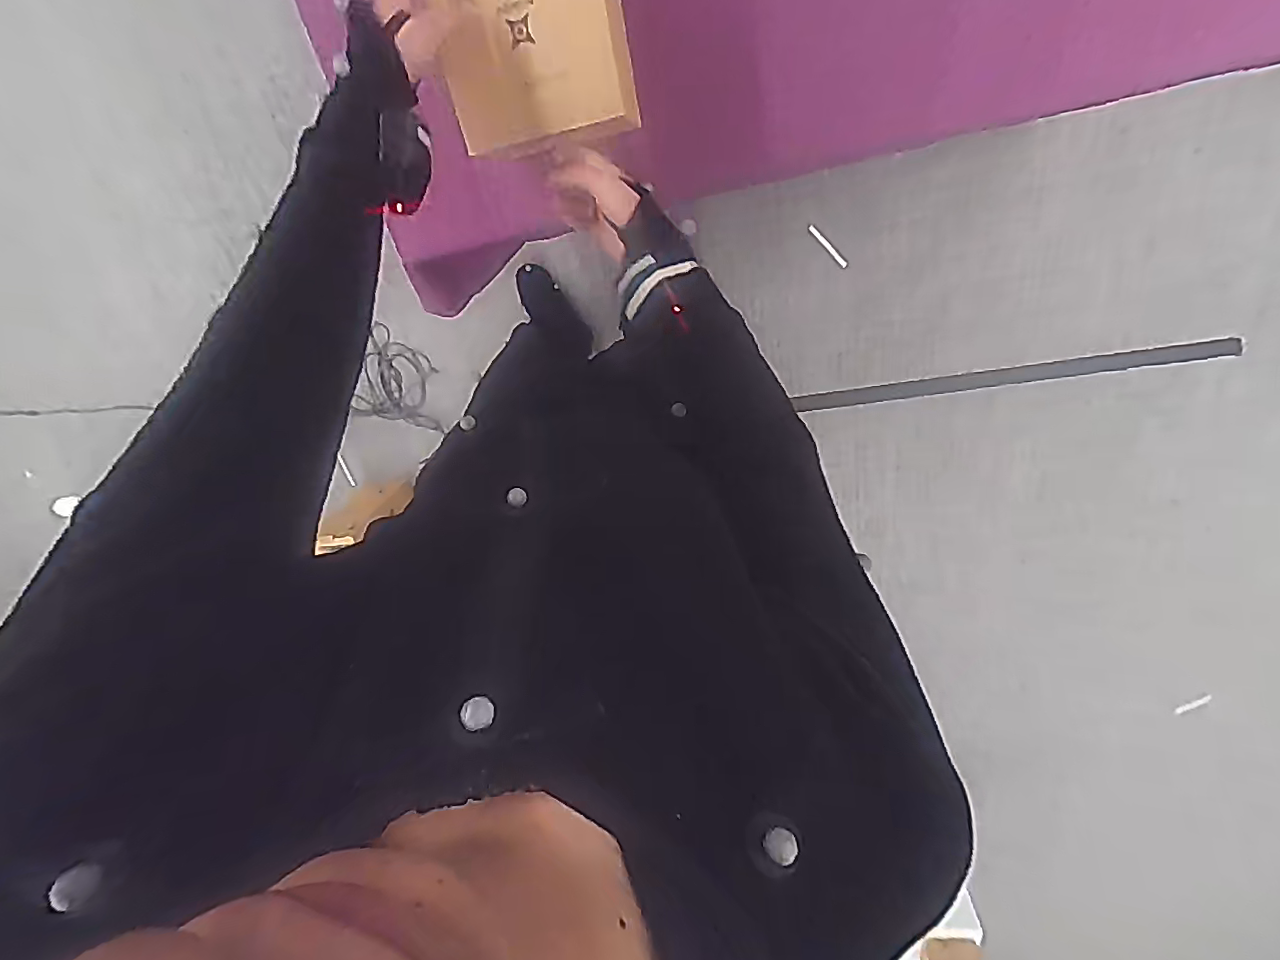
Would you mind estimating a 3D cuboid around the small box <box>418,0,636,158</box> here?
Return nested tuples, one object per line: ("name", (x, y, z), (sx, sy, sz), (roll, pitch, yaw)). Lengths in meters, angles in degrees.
("small box", (-0.105, -0.447, 0.554), (0.168, 0.176, 0.179), (-6, 119, 11))

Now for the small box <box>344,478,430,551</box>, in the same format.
("small box", (-0.840, 0.114, 1.818), (0.168, 0.176, 0.179), (-8, 118, 12))

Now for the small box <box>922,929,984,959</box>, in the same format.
("small box", (1.046, 1.623, 1.783), (0.168, 0.176, 0.179), (-7, 120, 11))
